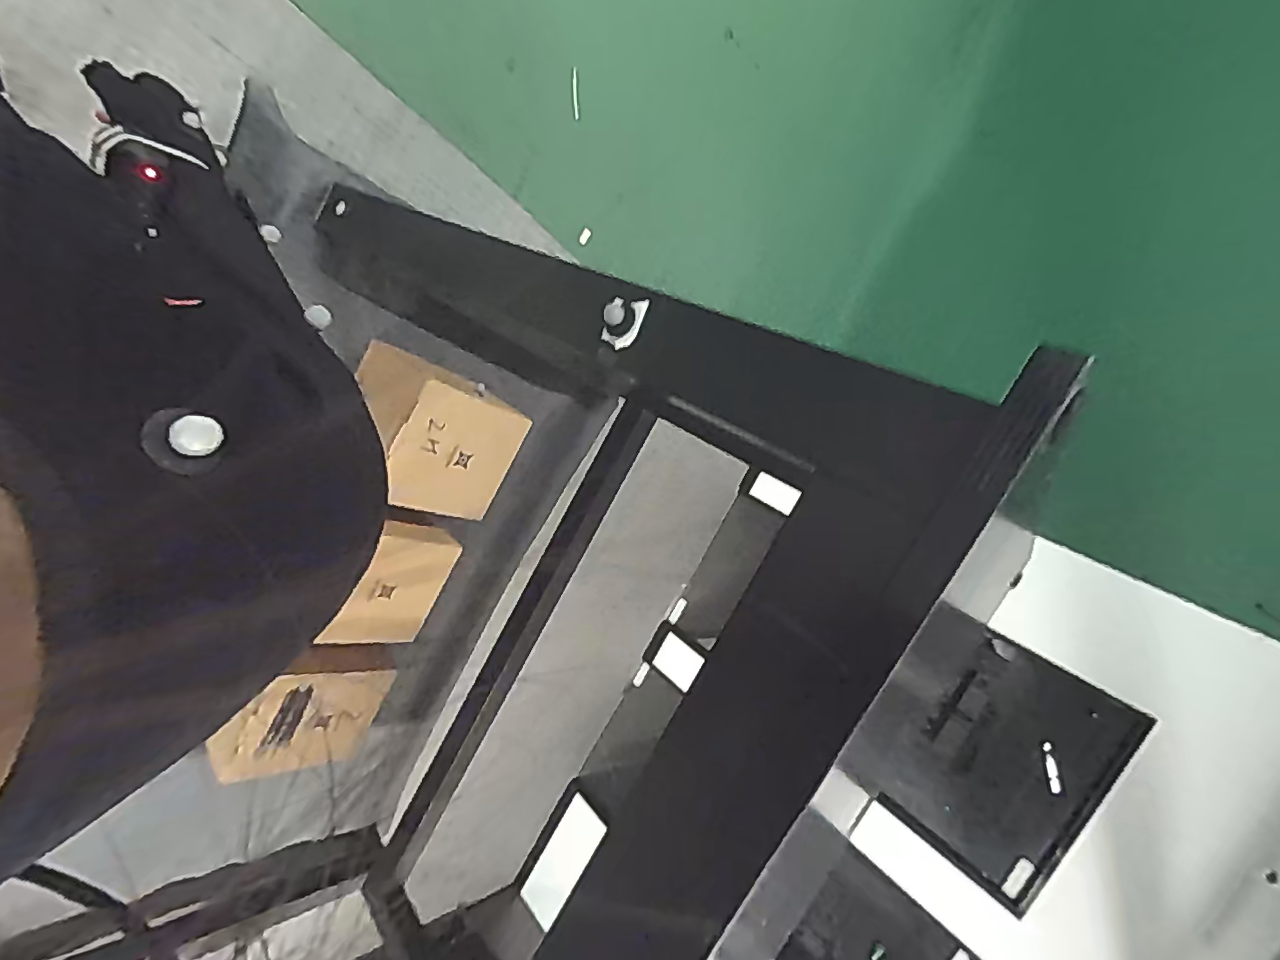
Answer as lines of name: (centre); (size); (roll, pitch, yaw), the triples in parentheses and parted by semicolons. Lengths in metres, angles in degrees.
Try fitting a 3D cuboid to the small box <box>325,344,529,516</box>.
small box: (-0.298, -0.070, 0.759); (0.179, 0.176, 0.168); (21, 99, -54)
